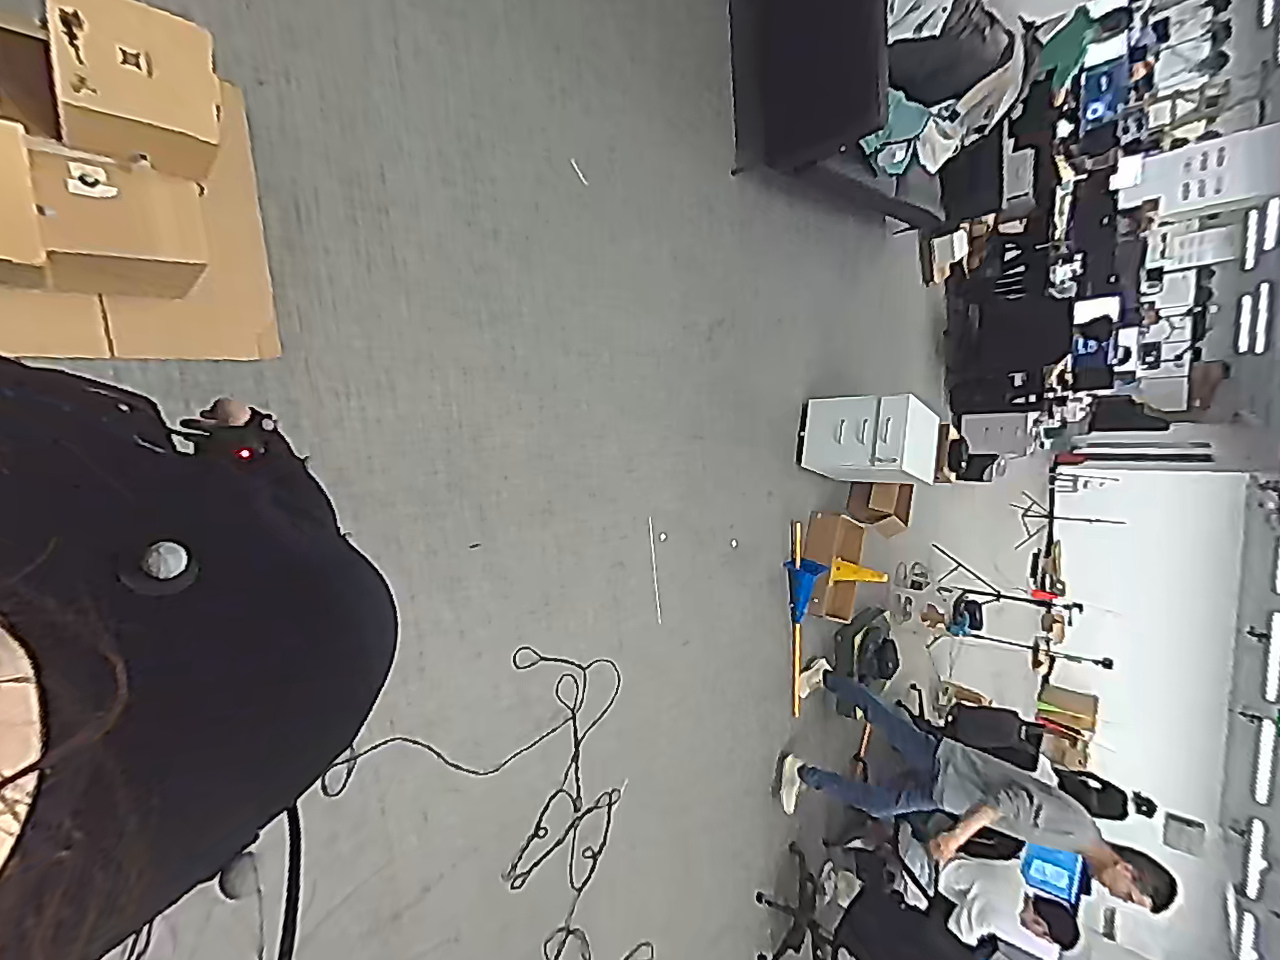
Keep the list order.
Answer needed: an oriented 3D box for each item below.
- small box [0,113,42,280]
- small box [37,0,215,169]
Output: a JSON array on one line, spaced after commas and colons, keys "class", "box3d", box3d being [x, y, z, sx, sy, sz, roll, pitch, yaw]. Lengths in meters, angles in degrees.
[{"class": "small box", "box3d": [-0.899, -0.368, 0.687, 0.168, 0.176, 0.179, -11, 103, -46]}, {"class": "small box", "box3d": [-0.764, -0.594, 0.807, 0.179, 0.176, 0.168, -6, 98, -45]}]
